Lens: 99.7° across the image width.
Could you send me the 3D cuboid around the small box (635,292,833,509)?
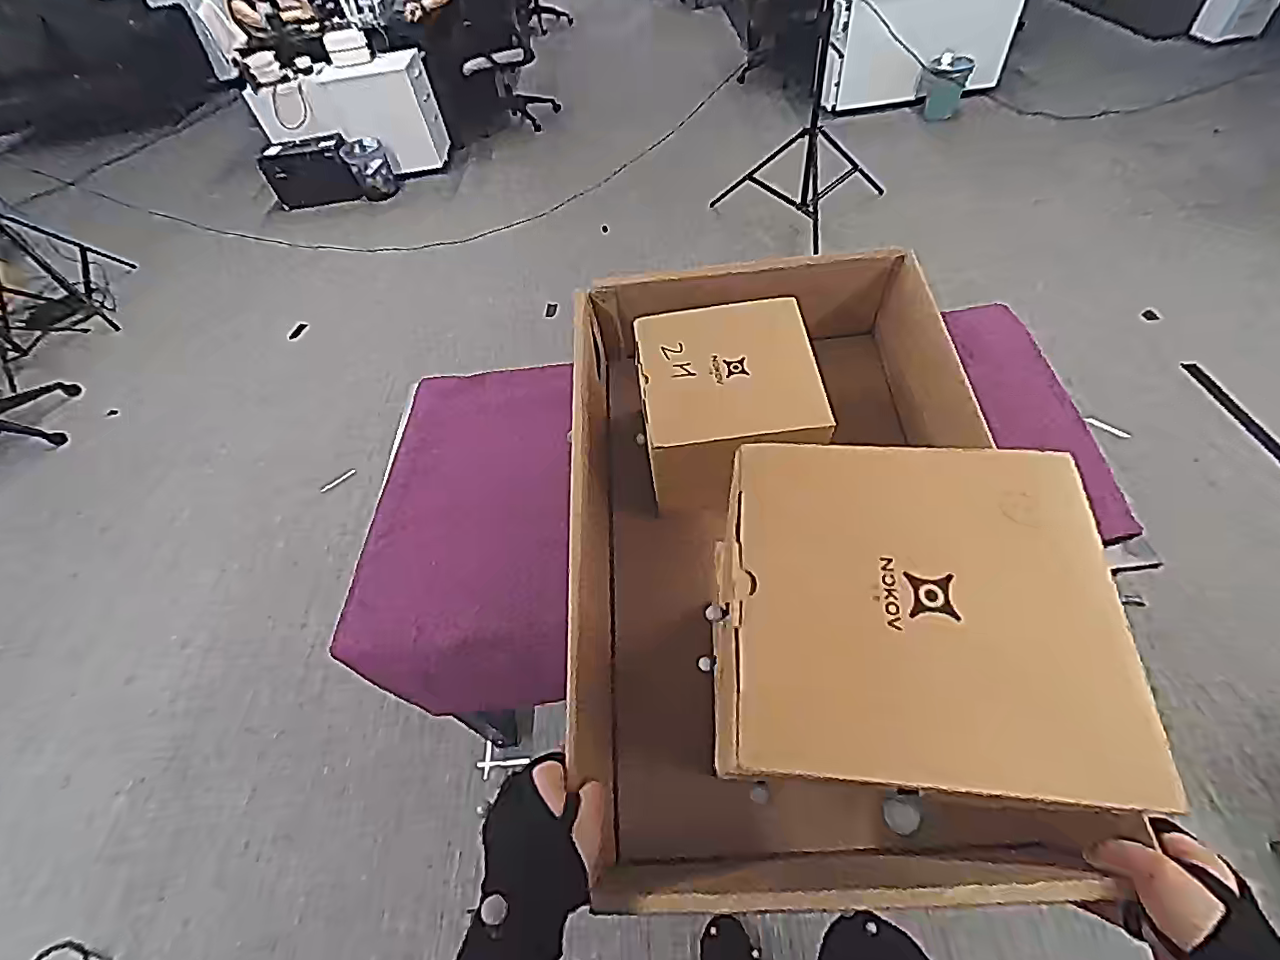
[{"bbox_3d":[0.092,-0.081,0.608,0.179,0.176,0.168,-7,62,1],"label":"small box"}]
